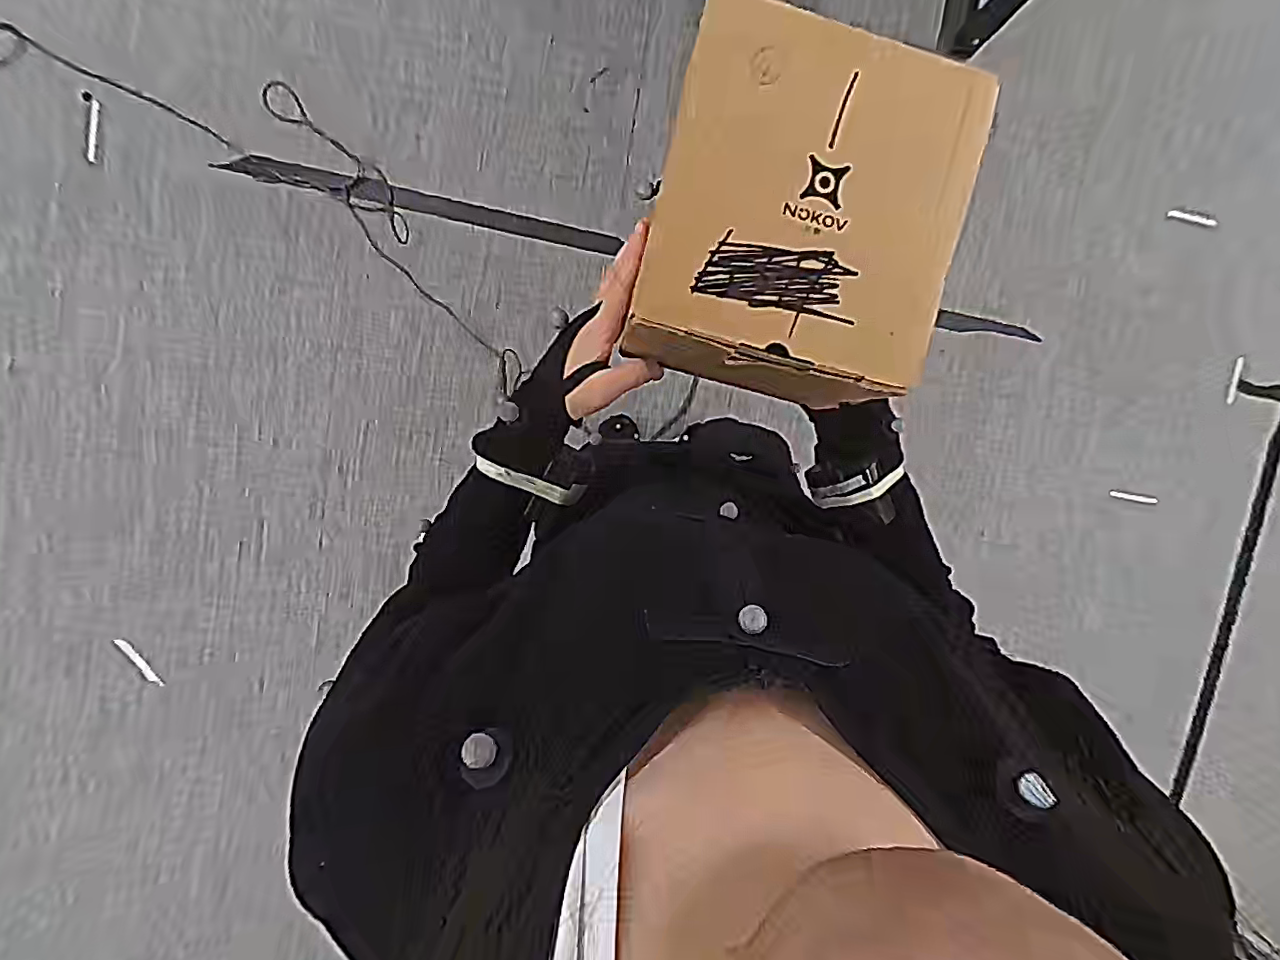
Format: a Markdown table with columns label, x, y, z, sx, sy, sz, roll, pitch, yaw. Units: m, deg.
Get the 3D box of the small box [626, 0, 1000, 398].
| label | x | y | z | sx | sy | sz | roll | pitch | yaw |
| --- | --- | --- | --- | --- | --- | --- | --- | --- | --- |
| small box | 0.089 | -0.159 | 0.368 | 0.168 | 0.176 | 0.179 | 14 | 94 | -6 |
